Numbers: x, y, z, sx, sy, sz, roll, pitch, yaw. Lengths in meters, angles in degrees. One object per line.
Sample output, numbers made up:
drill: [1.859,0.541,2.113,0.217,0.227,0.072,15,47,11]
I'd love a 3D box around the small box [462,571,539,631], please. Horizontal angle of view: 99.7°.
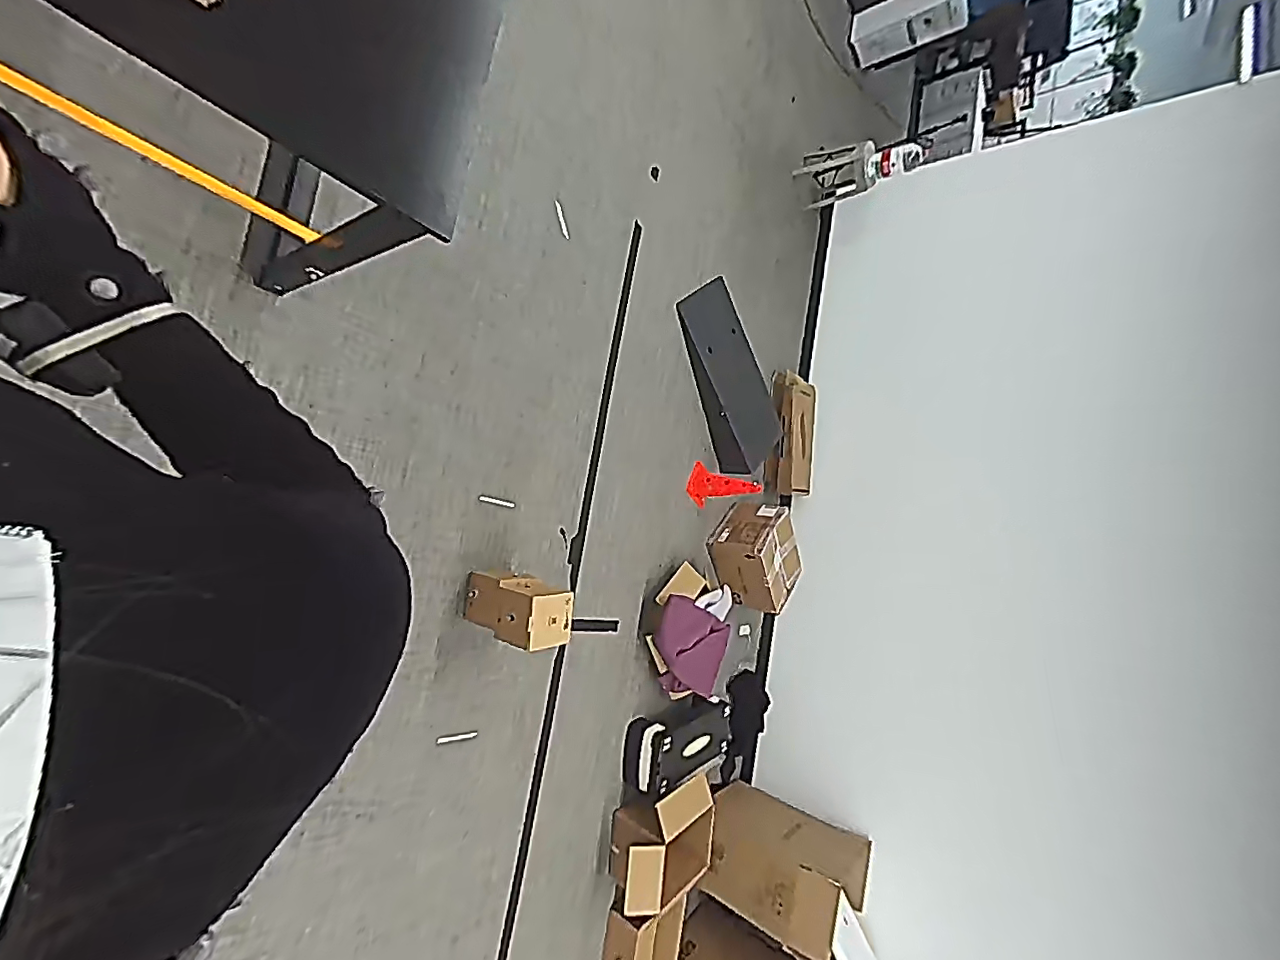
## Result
small box: [-0.469,0.400,1.816,0.179,0.176,0.168,10,85,-51]

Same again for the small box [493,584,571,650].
small box: [-0.344,0.428,1.712,0.179,0.176,0.168,8,87,-52]
